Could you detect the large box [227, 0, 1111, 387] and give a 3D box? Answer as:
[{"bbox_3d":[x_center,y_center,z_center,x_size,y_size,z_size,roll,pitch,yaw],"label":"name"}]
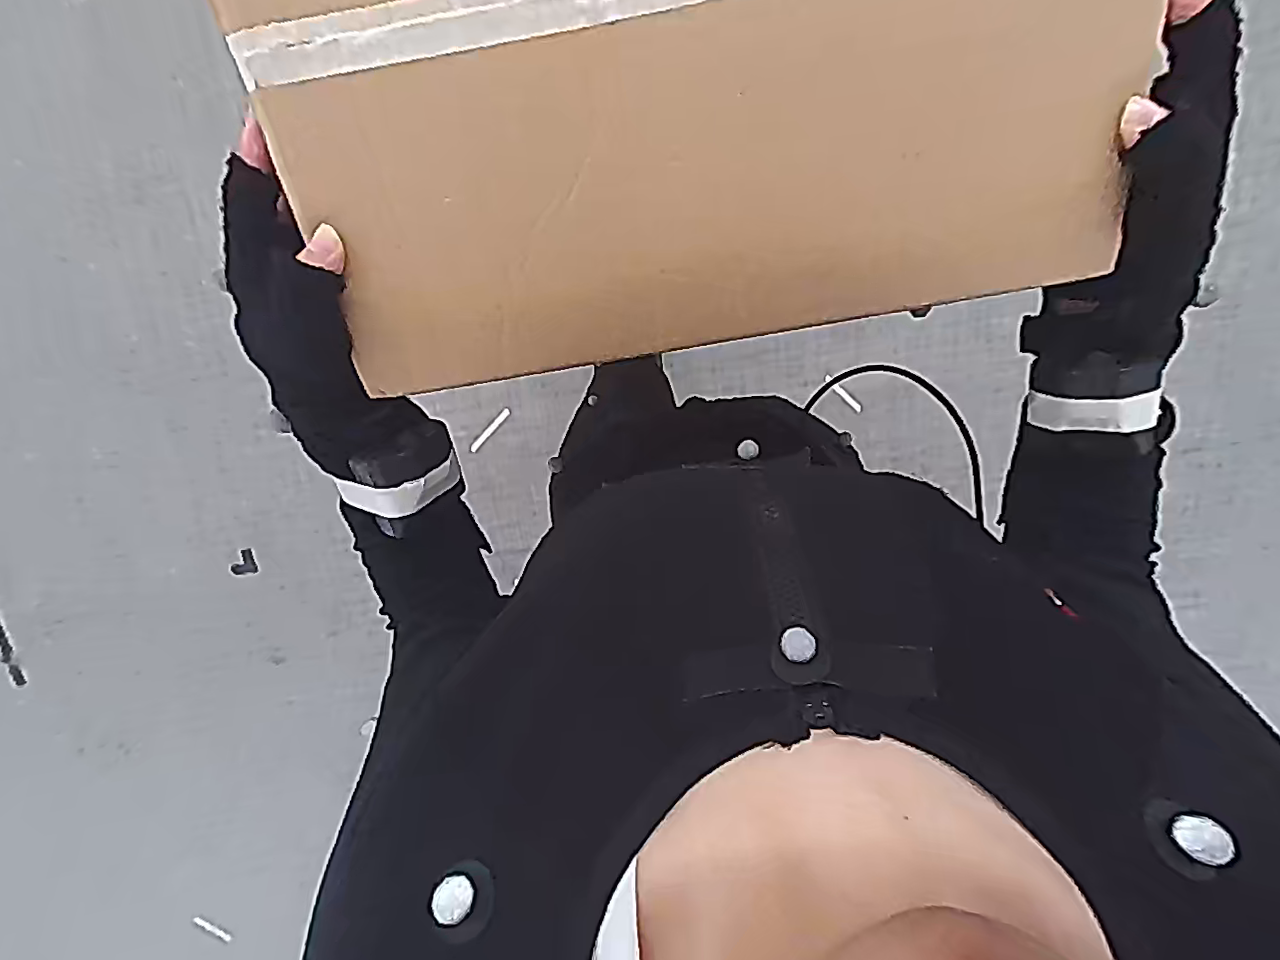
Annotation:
[{"bbox_3d":[0.013,-0.286,0.376,0.408,0.320,0.320,-9,114,3],"label":"large box"}]
